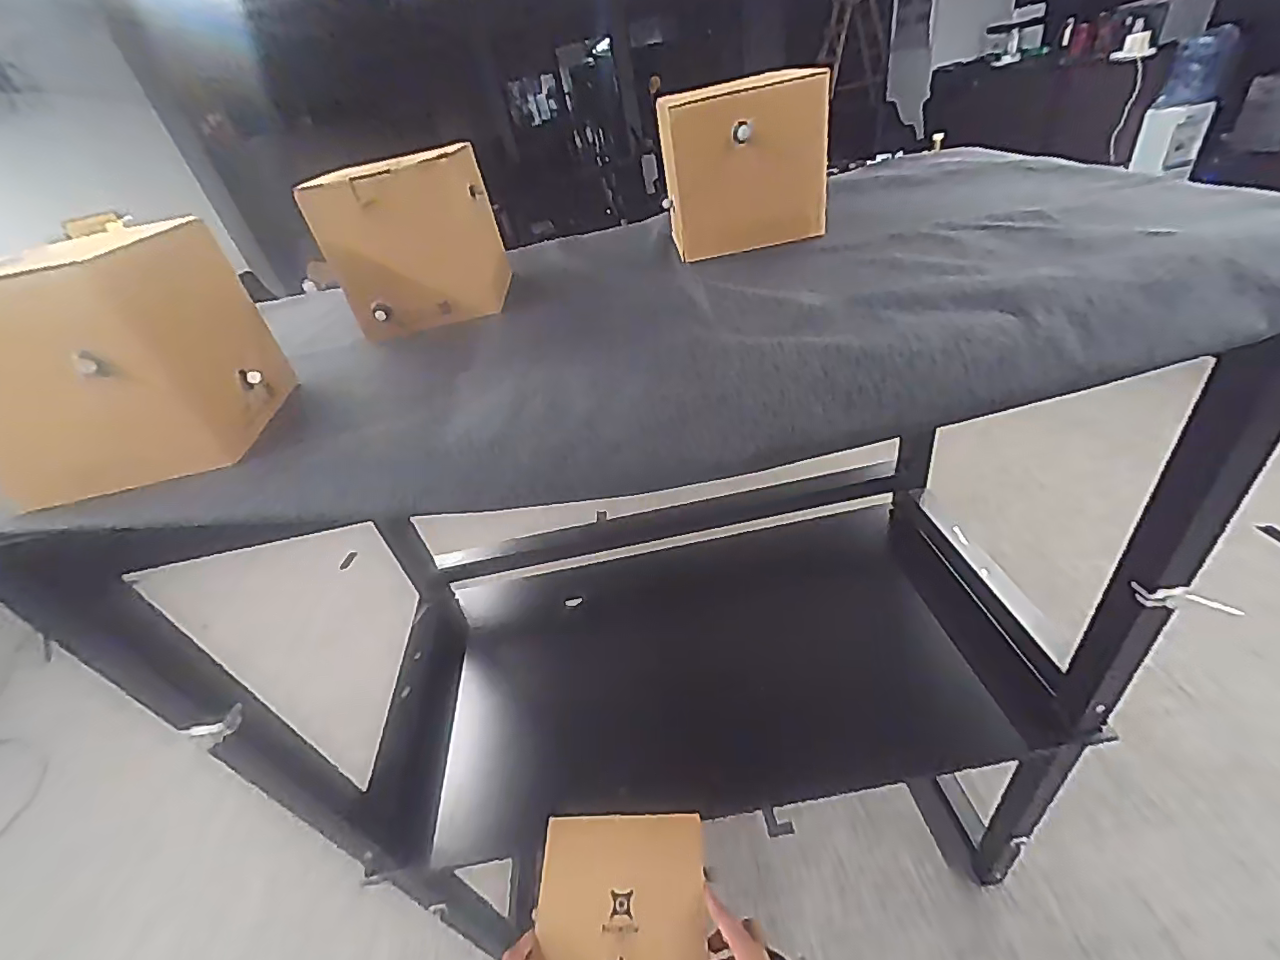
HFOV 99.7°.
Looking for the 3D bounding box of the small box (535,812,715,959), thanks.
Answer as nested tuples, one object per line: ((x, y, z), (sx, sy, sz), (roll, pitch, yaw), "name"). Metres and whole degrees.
((-0.006, 0.477, 0.567), (0.168, 0.176, 0.179), (-4, 39, 5), "small box")

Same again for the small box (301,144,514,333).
((-0.264, -0.295, 0.669), (0.168, 0.176, 0.179), (-12, 36, 2), "small box")

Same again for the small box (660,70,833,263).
((0.128, -0.393, 0.679), (0.179, 0.176, 0.168), (-11, 36, 5), "small box")
